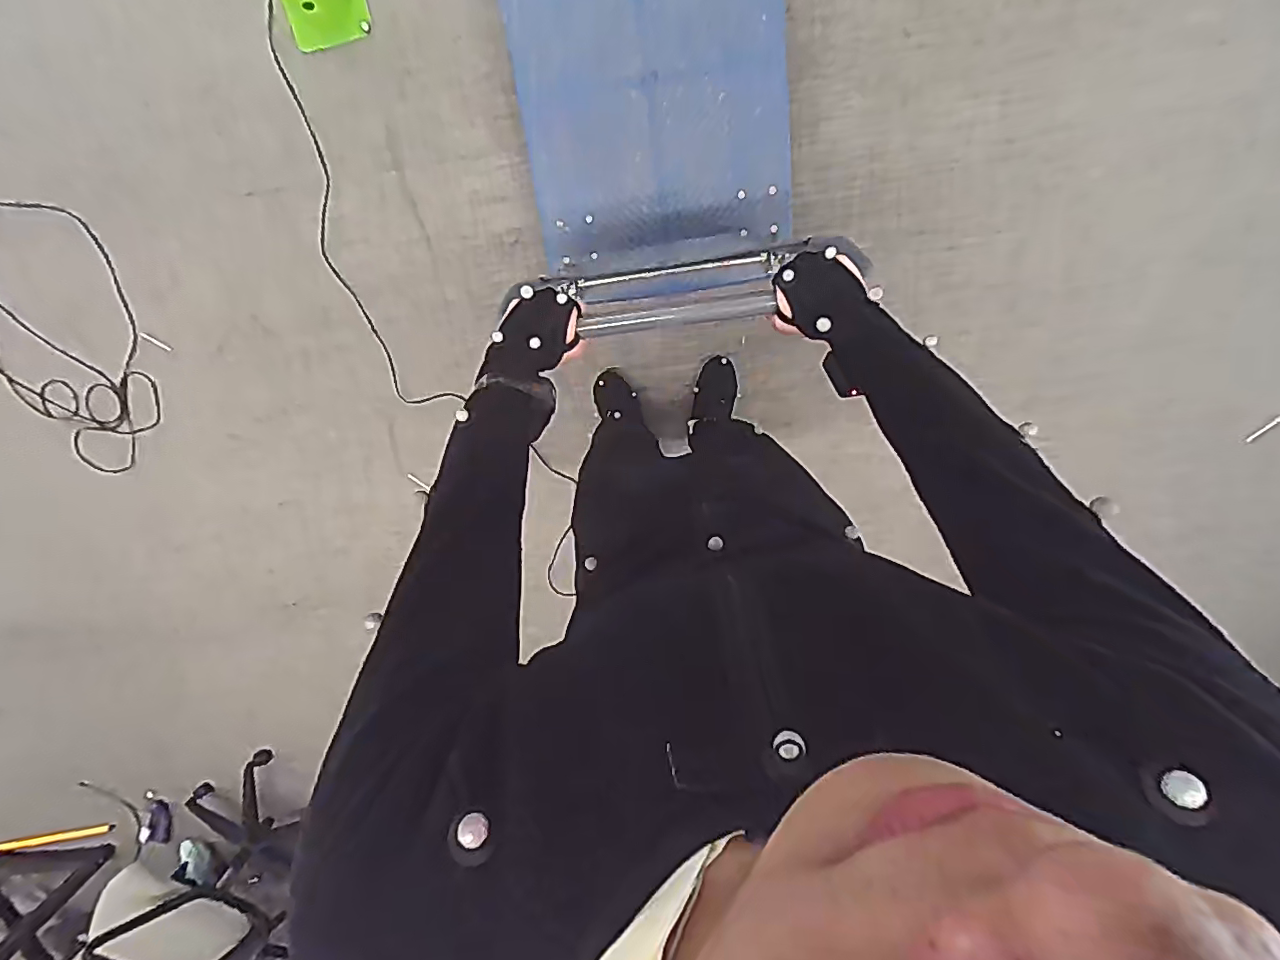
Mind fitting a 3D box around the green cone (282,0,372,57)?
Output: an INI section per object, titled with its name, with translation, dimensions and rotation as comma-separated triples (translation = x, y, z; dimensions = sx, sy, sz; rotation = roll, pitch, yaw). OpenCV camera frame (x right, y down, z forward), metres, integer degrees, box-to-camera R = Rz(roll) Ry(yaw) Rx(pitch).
[green cone]
translation = -0.772, -1.089, 1.125
dimensions = 0.202, 0.368, 0.200
rotation = -9, 108, 9
